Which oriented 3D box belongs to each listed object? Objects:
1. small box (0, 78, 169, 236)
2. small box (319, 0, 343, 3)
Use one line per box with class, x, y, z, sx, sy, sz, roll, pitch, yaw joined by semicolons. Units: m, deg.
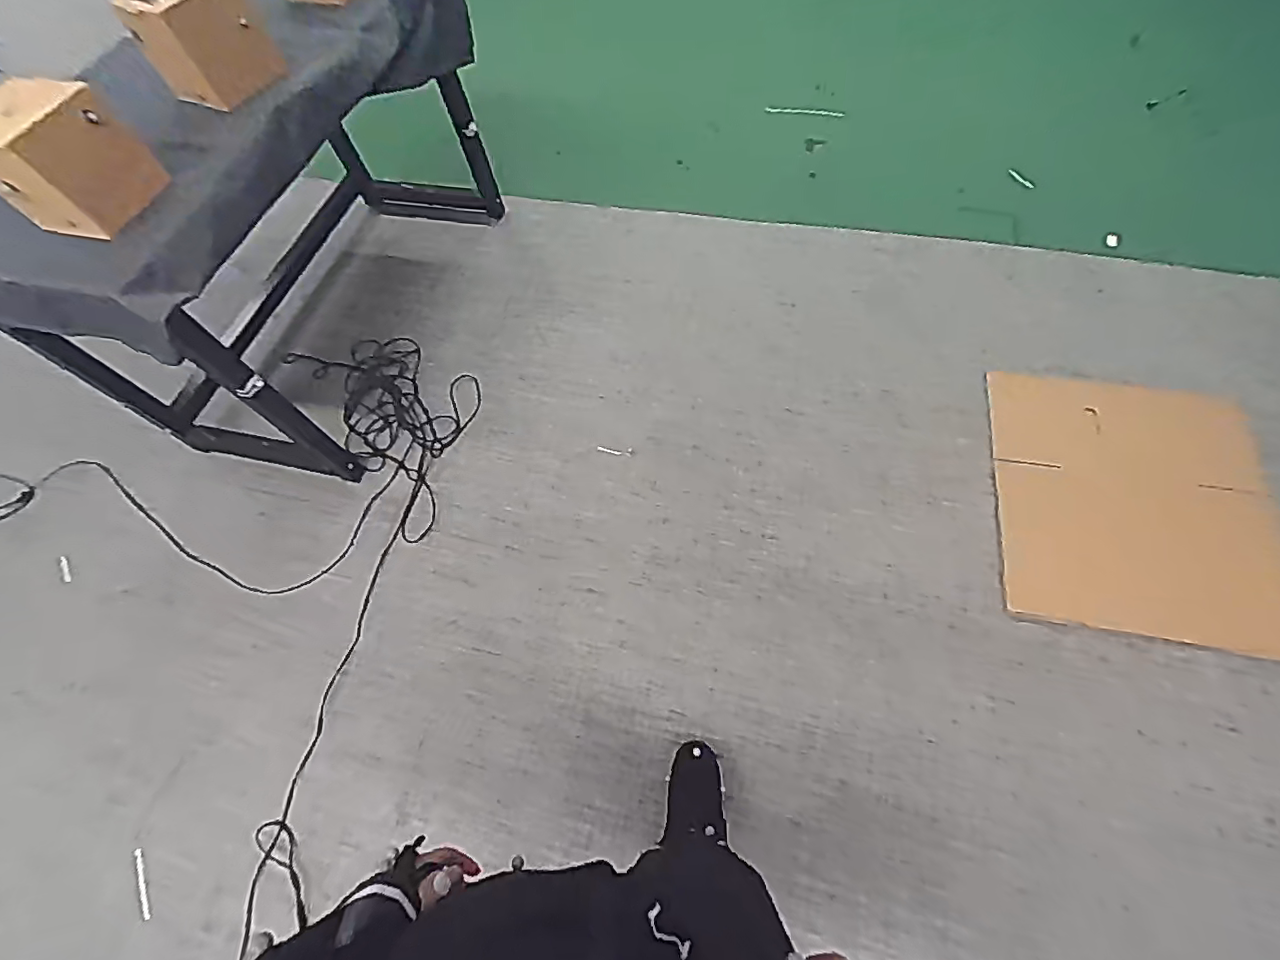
small box;-0.980;-0.547;0.926;0.168;0.176;0.179;12;64;12
small box;-0.757;-1.258;1.262;0.168;0.176;0.179;16;66;12
